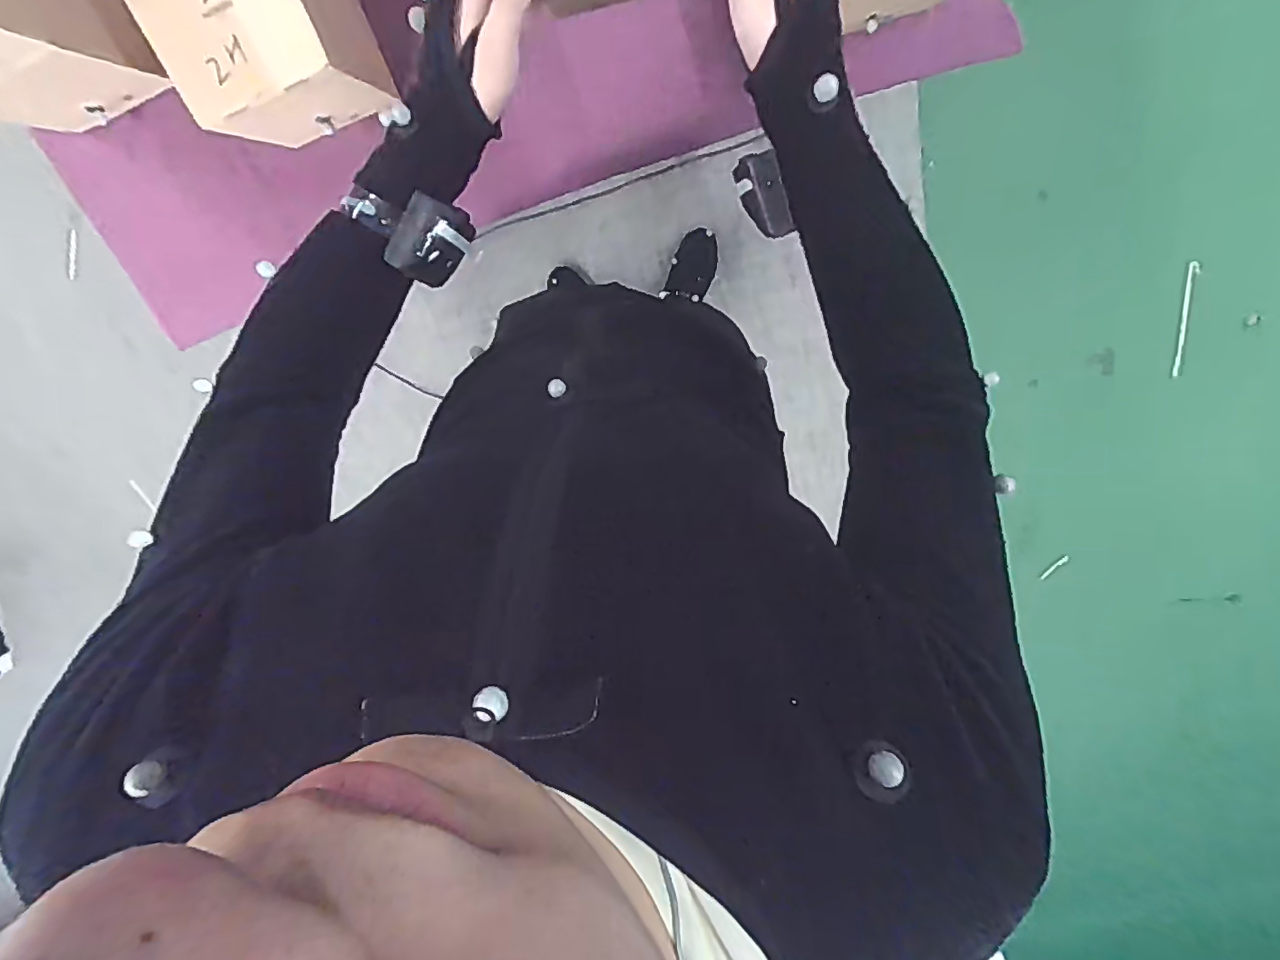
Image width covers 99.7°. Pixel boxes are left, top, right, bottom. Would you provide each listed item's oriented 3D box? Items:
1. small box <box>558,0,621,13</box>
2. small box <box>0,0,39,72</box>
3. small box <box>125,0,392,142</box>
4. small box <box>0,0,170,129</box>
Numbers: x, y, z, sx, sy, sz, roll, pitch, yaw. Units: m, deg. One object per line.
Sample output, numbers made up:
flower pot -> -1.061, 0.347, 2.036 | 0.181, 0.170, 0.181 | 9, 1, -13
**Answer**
small box -> -0.012, -0.459, 0.363 | 0.168, 0.176, 0.179 | -10, 120, 5
small box -> -0.696, -0.448, 0.445 | 0.168, 0.176, 0.179 | -17, 115, 11
small box -> -0.413, -0.502, 0.593 | 0.168, 0.176, 0.179 | -16, 115, 9
small box -> -0.693, -0.519, 0.592 | 0.168, 0.176, 0.179 | -17, 115, 10
